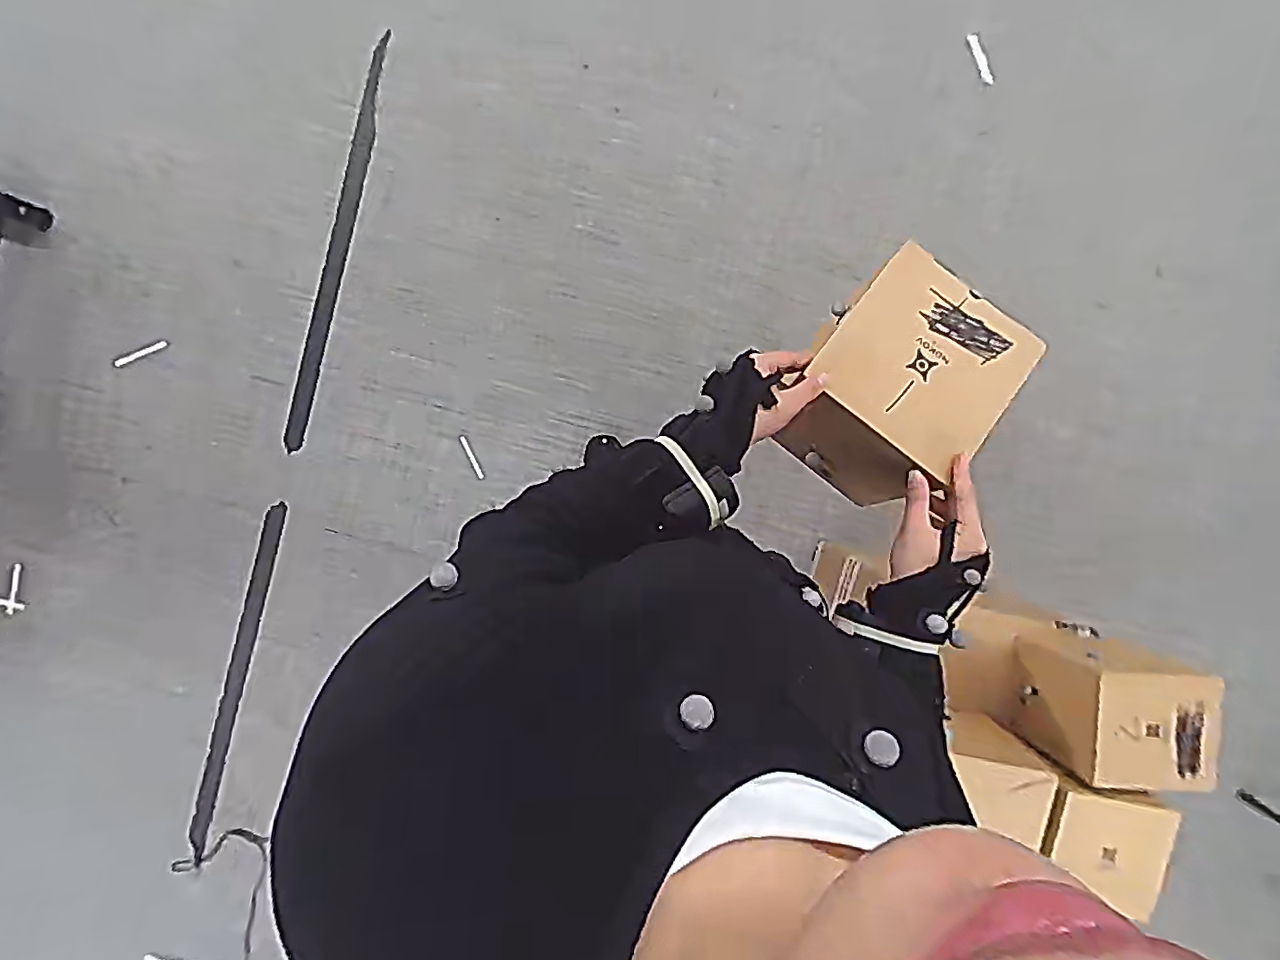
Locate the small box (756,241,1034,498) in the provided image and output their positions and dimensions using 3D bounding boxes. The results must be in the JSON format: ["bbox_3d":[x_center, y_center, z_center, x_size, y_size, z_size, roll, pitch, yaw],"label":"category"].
[{"bbox_3d":[0.248,-0.101,0.573,0.168,0.176,0.179,39,81,2],"label":"small box"}]
